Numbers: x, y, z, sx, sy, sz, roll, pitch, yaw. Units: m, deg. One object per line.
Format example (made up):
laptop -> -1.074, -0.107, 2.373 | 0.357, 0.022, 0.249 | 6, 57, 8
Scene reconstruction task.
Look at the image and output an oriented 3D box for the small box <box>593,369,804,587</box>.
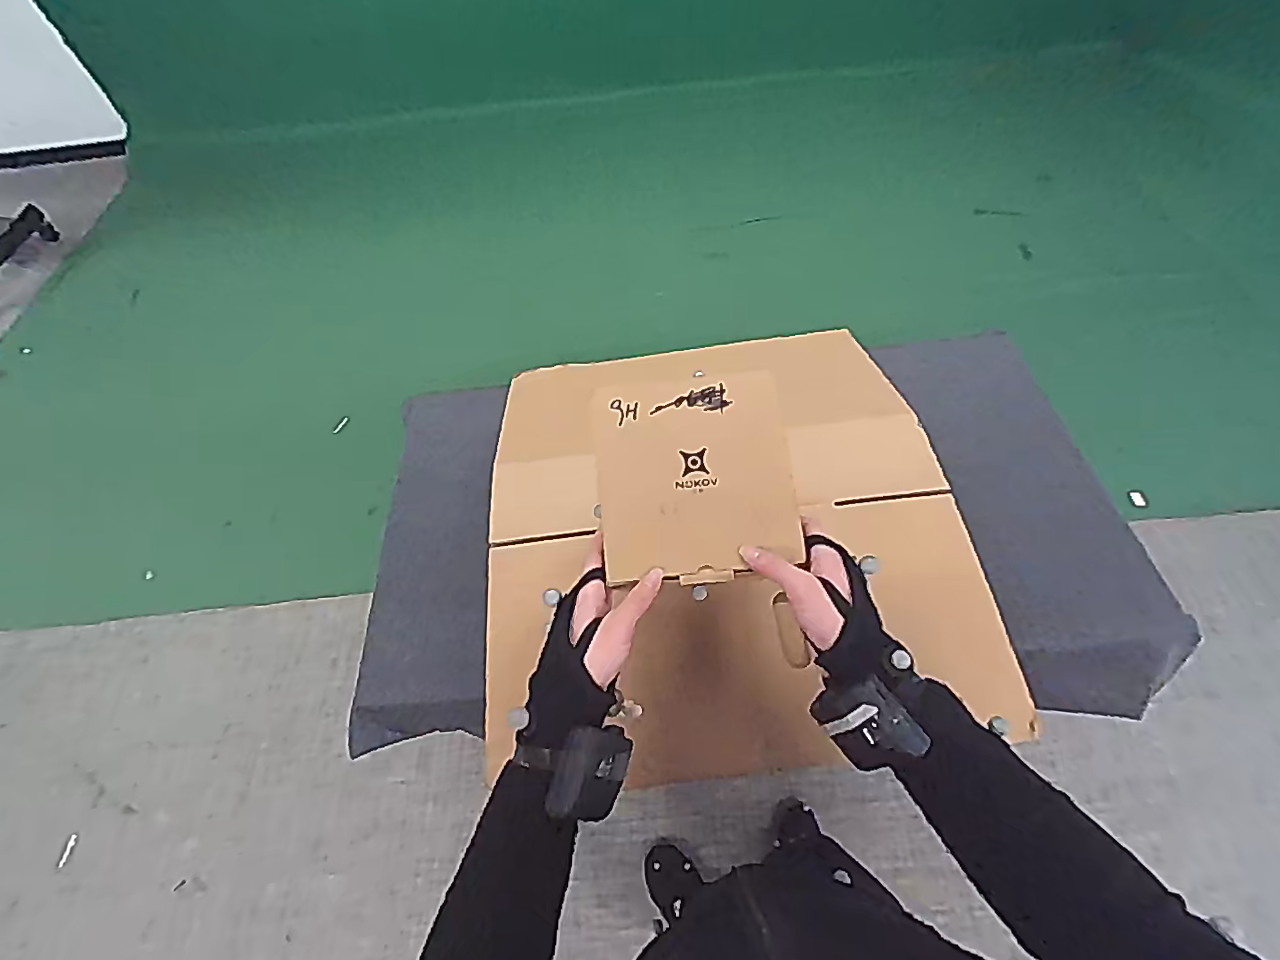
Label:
small box -> 0.052, 0.012, 0.547 | 0.168, 0.176, 0.179 | -8, 75, 1
